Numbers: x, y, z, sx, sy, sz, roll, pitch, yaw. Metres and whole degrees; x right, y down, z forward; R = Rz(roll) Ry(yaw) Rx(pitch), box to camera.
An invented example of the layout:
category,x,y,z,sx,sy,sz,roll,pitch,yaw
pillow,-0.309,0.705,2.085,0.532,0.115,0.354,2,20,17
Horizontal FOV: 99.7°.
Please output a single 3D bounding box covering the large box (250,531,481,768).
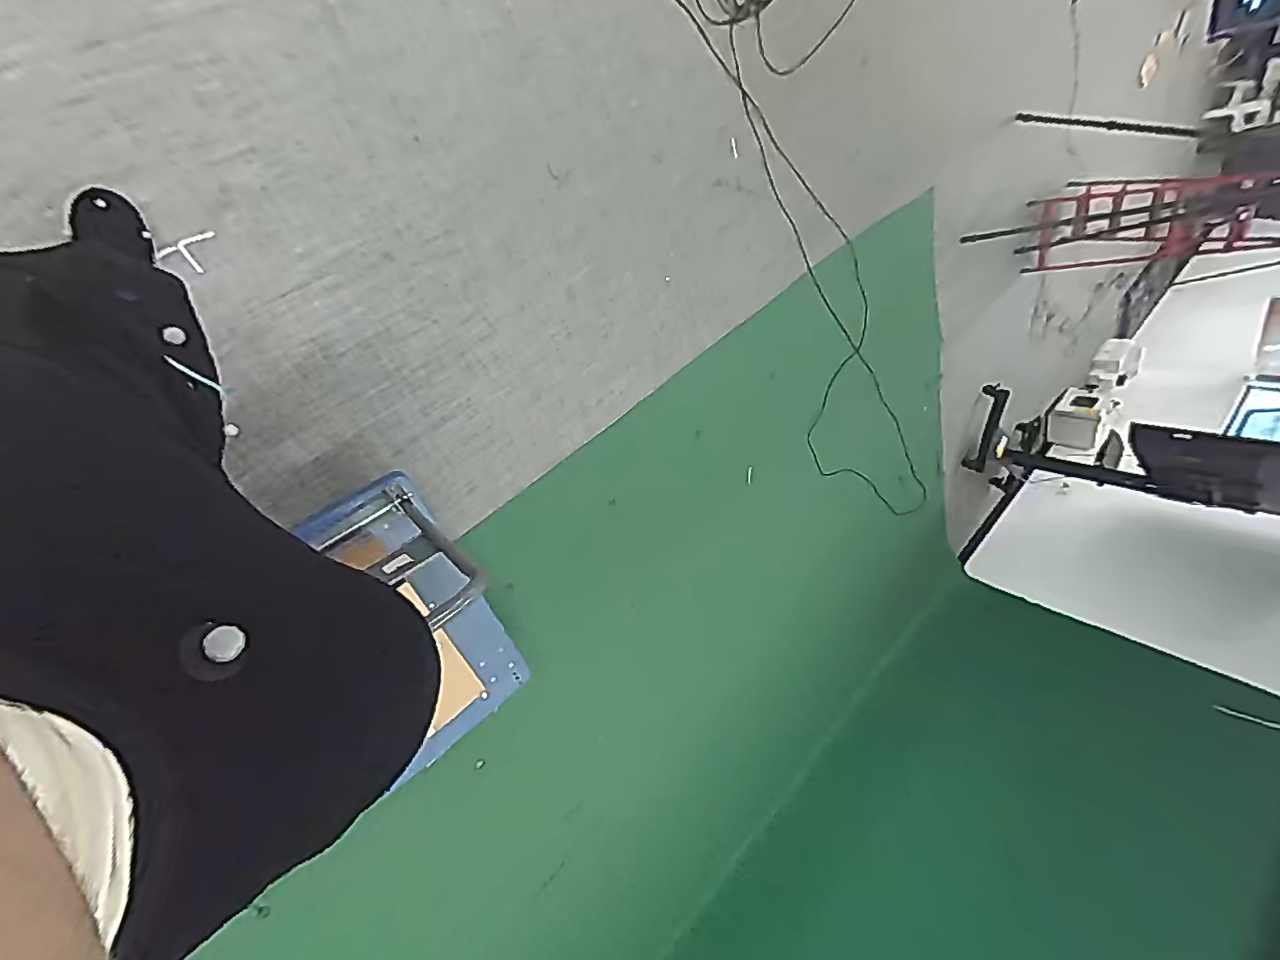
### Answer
category,x,y,z,sx,sy,sz,roll,pitch,yaw
large box,-0.672,0.403,1.341,0.320,0.320,0.408,-36,126,-24
